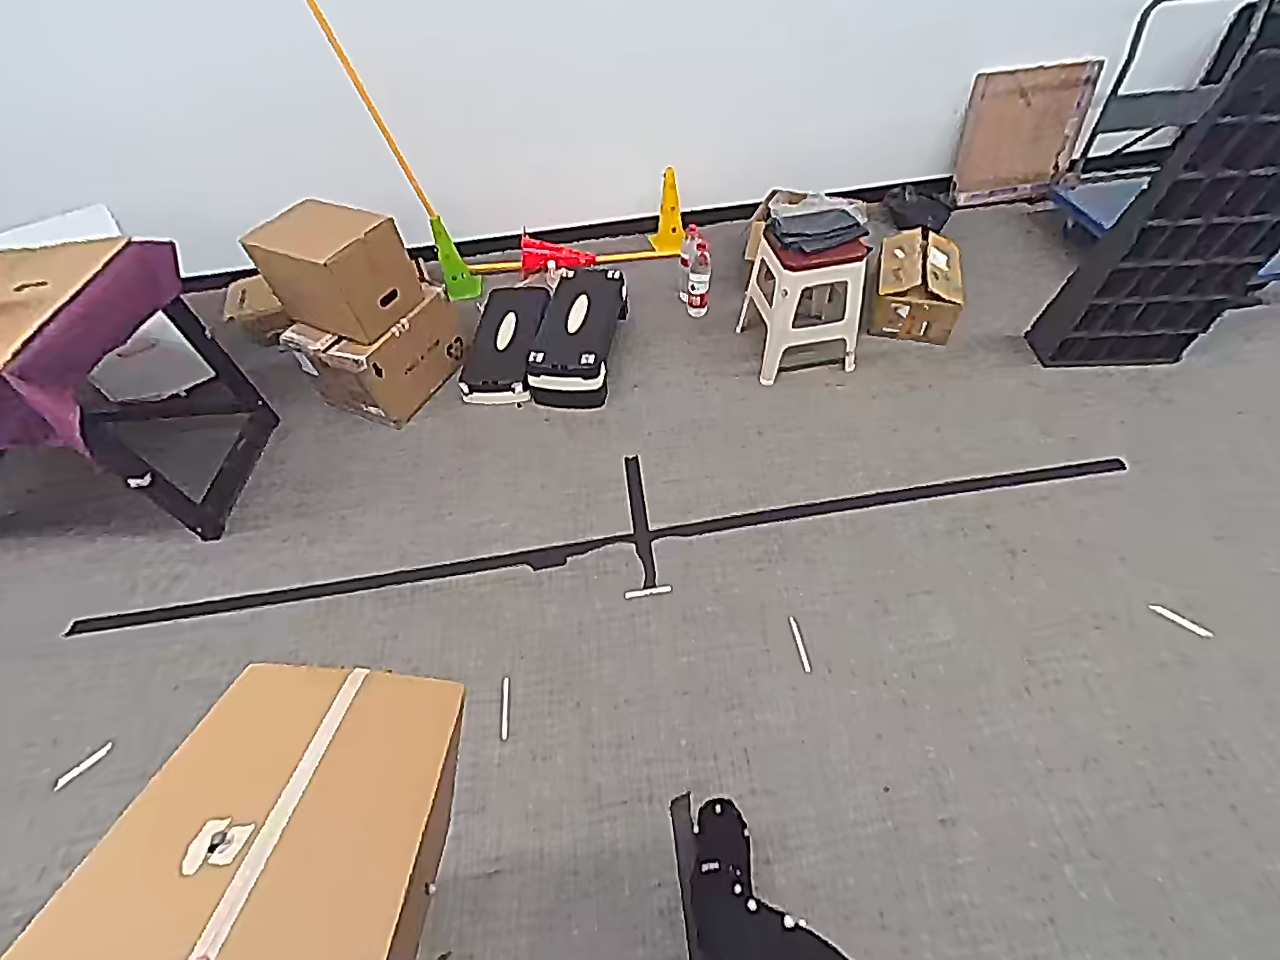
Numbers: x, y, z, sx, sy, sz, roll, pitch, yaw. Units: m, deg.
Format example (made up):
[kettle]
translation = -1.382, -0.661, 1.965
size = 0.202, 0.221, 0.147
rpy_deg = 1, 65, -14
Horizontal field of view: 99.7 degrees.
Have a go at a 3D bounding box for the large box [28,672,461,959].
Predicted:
[large box]
translation = -0.441, 0.521, 0.702
size = 0.320, 0.320, 0.408
rpy_deg = 9, 21, -9
